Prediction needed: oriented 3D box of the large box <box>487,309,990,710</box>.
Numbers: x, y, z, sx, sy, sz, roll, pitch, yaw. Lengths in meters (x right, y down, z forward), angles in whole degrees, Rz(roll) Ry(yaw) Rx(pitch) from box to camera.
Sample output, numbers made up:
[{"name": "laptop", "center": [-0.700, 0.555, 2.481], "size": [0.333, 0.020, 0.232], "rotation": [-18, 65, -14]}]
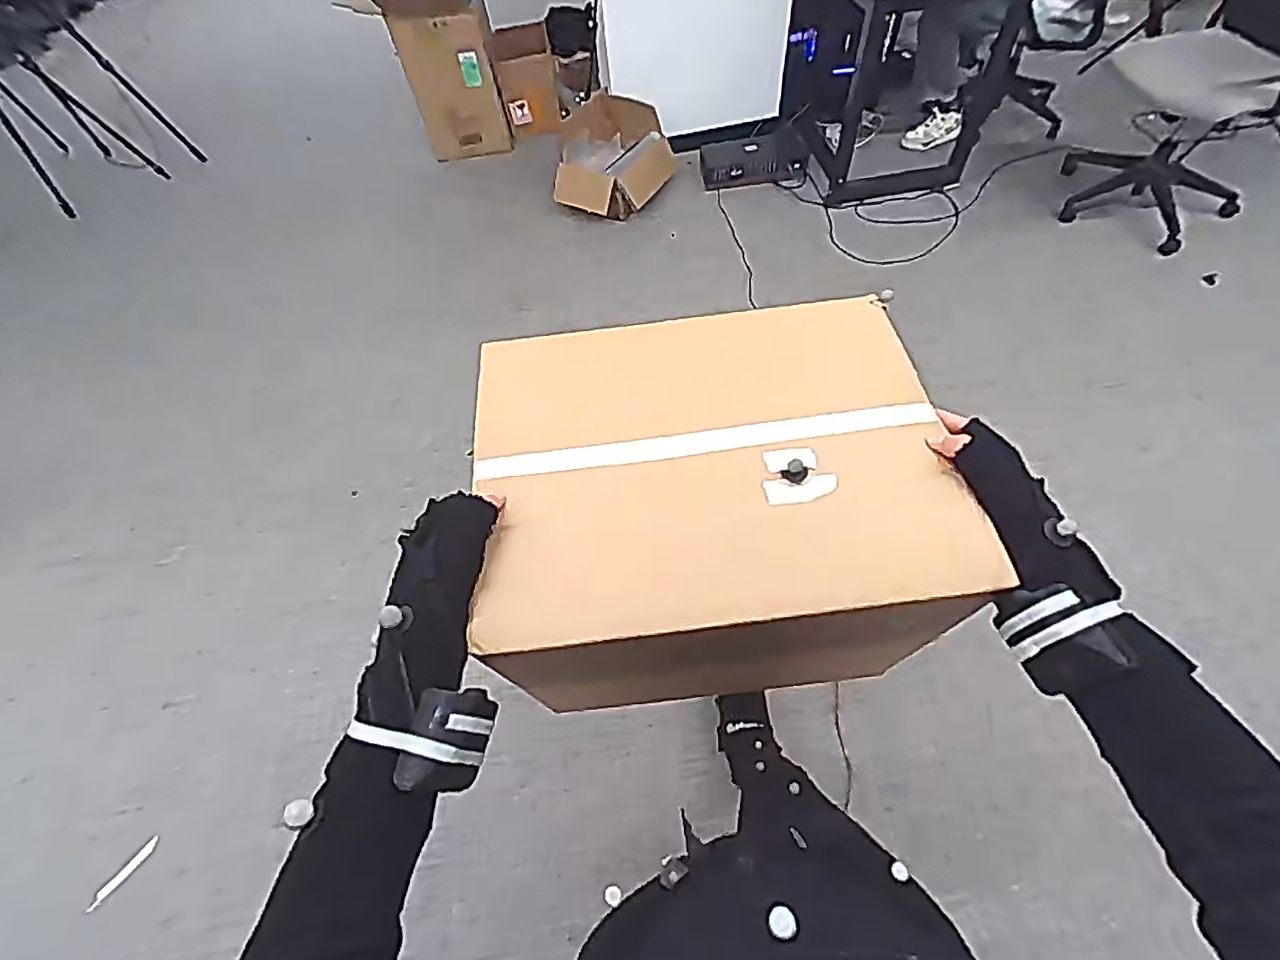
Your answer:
[{"name": "large box", "center": [0.067, 0.051, 0.619], "size": [0.408, 0.320, 0.320], "rotation": [-7, 59, 0]}]
